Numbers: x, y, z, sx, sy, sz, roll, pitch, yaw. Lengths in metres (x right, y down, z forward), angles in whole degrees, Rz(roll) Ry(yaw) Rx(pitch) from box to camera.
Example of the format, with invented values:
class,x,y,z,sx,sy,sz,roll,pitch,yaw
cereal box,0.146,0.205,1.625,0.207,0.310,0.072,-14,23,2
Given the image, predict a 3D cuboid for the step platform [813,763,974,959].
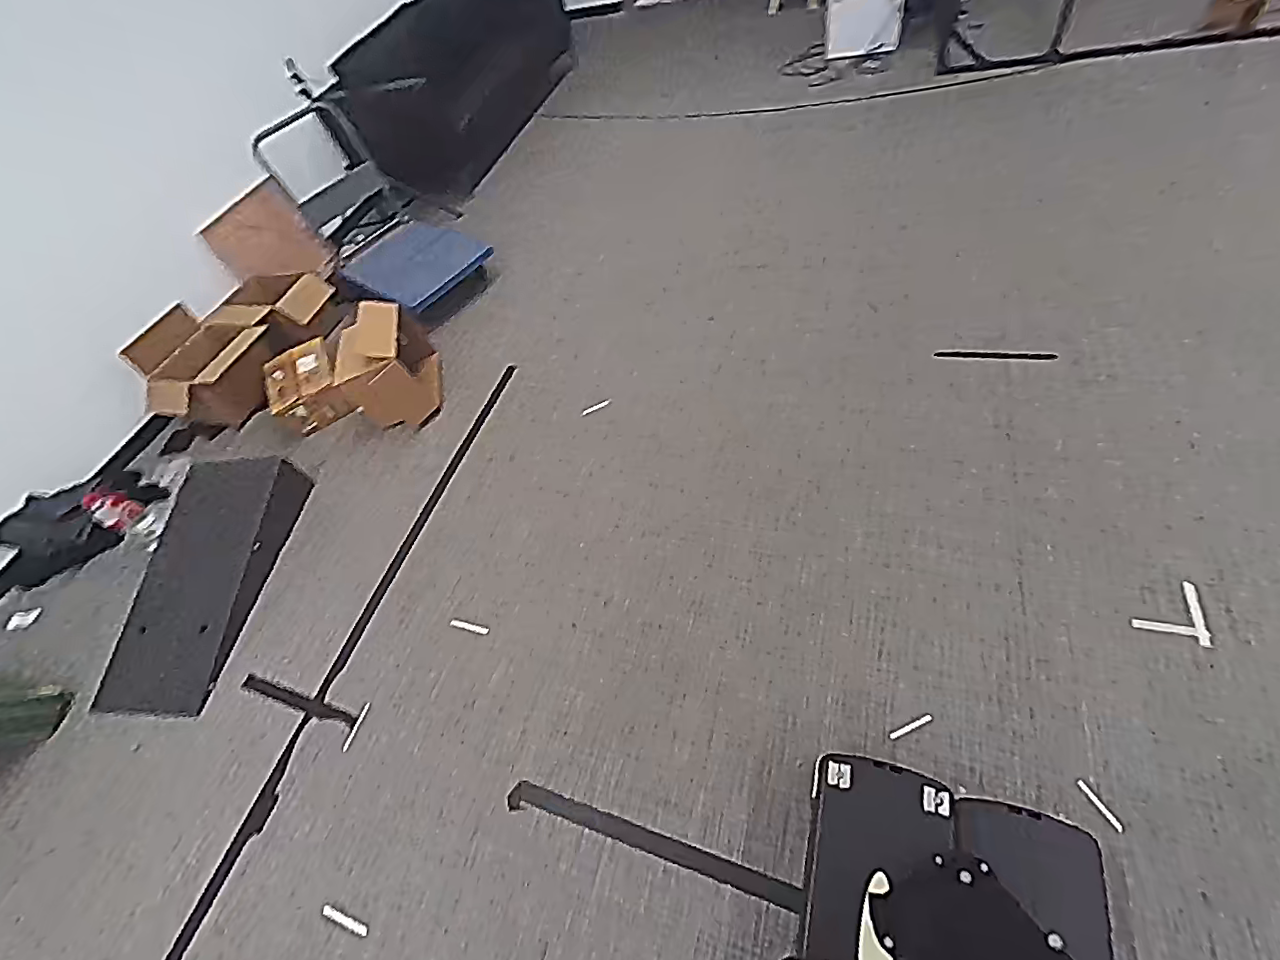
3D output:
class,x,y,z,sx,sy,sz,roll,pitch,yaw
step platform,0.497,0.964,1.094,0.286,0.204,0.684,6,56,19
